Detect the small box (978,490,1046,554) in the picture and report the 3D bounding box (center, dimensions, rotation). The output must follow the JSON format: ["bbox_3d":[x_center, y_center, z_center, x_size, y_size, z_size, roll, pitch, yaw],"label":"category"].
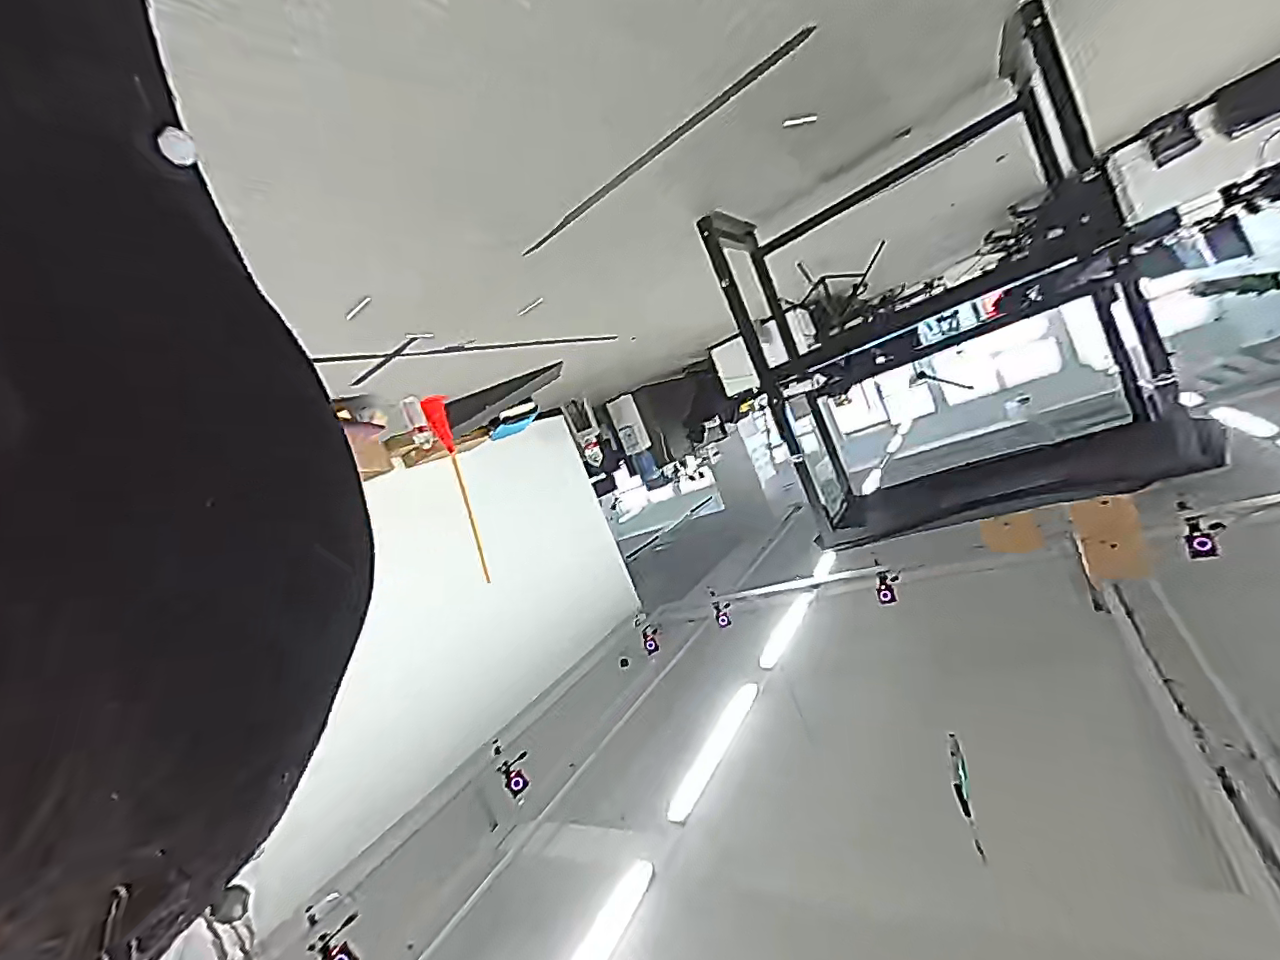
[{"bbox_3d":[1.383,0.152,2.019,0.168,0.176,0.179,-20,-174,34],"label":"small box"}]

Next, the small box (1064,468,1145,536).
[{"bbox_3d":[1.595,0.071,1.866,0.168,0.176,0.179,-19,-174,35],"label":"small box"}]
